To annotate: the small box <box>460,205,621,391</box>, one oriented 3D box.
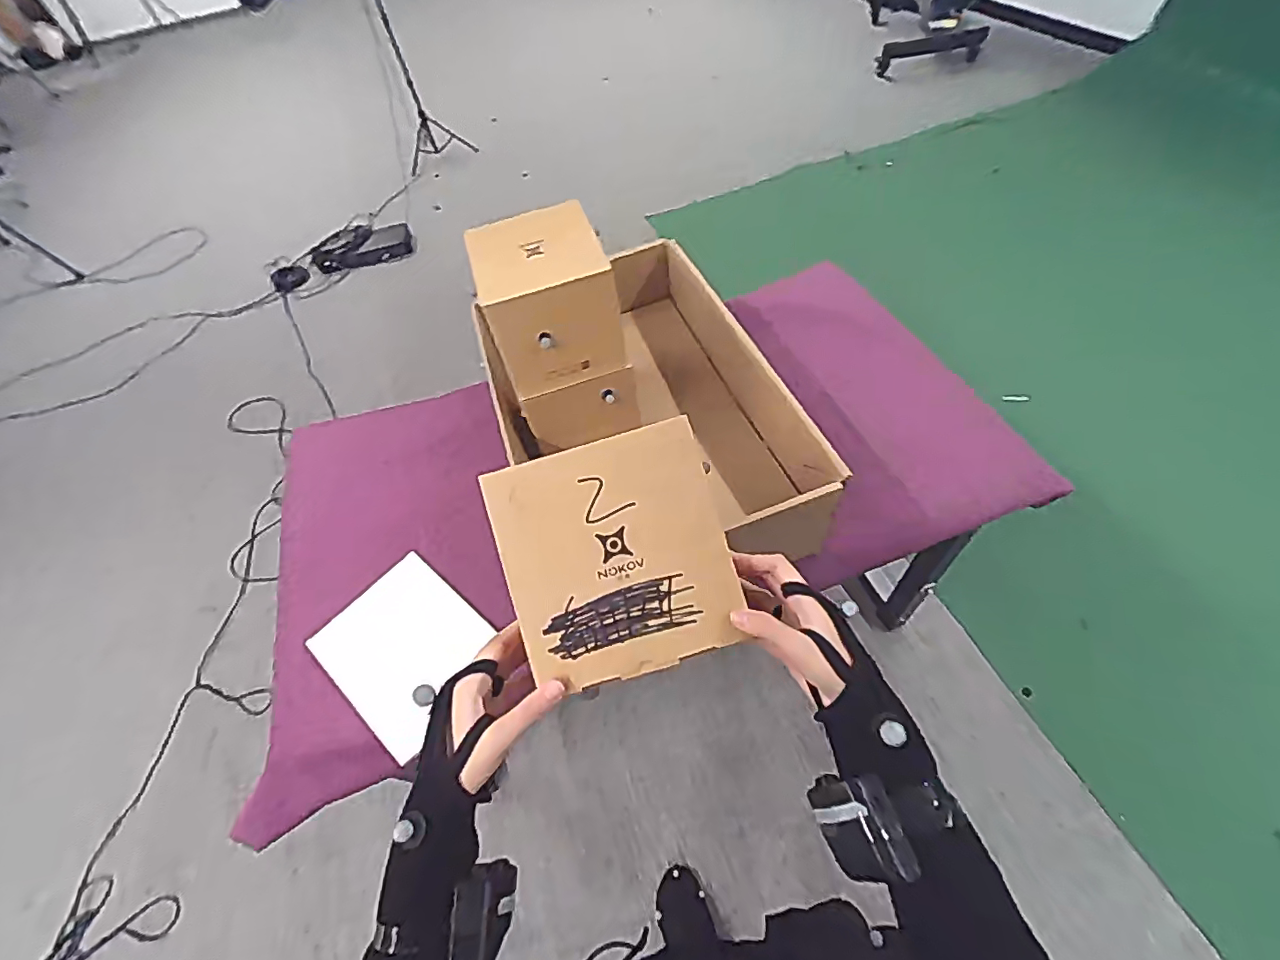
[{"bbox_3d":[-0.134,-0.247,0.764,0.168,0.176,0.179,-19,55,-5],"label":"small box"}]
